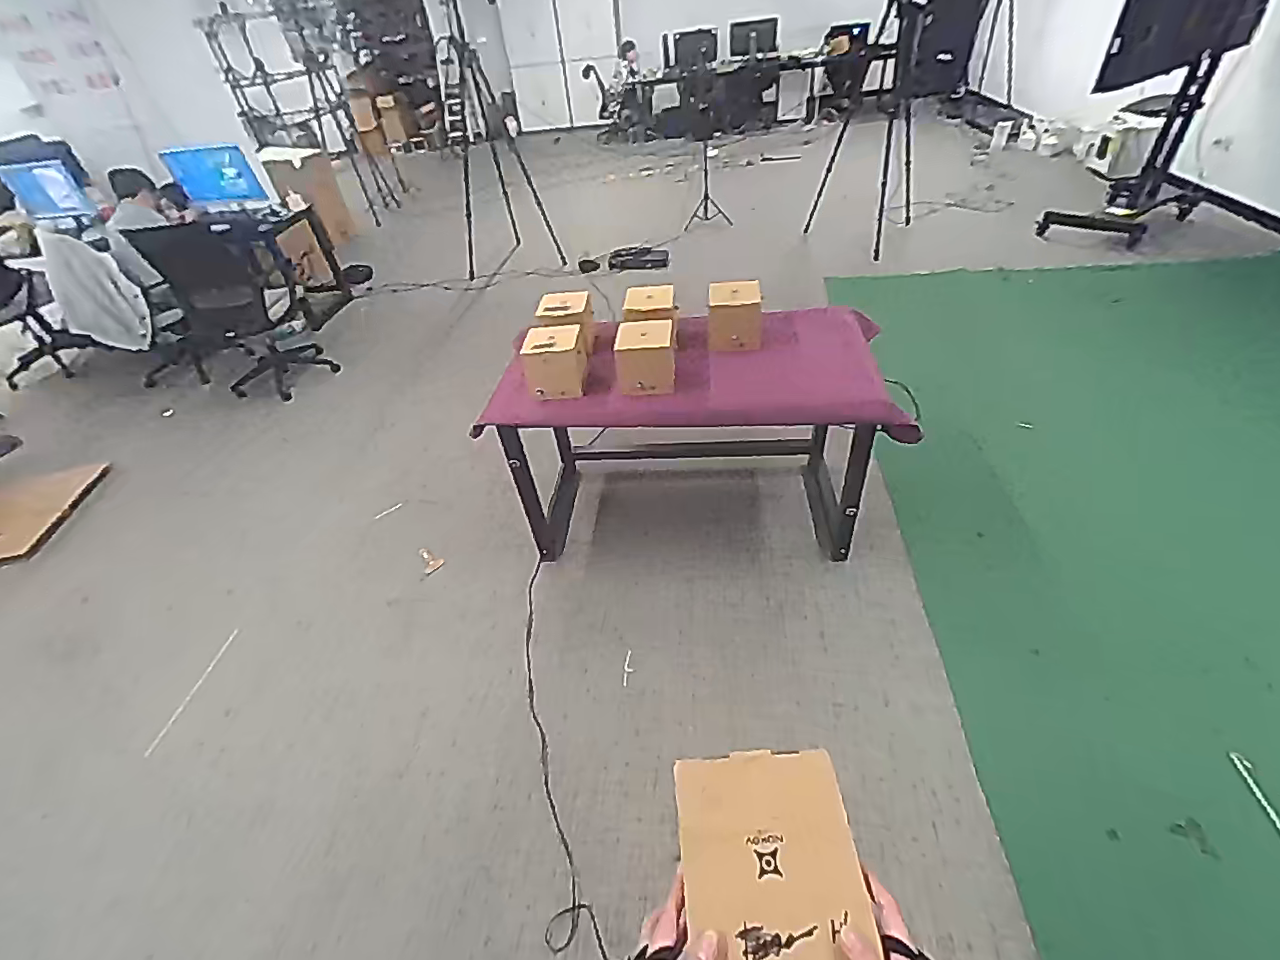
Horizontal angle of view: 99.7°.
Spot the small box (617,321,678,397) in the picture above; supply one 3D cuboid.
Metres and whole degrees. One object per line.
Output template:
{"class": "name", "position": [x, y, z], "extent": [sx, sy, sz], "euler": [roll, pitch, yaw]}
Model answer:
{"class": "small box", "position": [0.029, -0.378, 1.690], "extent": [0.168, 0.176, 0.179], "euler": [-2, 43, 9]}

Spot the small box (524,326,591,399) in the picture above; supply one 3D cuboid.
{"class": "small box", "position": [-0.255, -0.369, 1.724], "extent": [0.168, 0.176, 0.179], "euler": [-3, 40, 6]}

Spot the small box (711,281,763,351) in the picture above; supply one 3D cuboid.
{"class": "small box", "position": [0.328, -0.554, 1.829], "extent": [0.168, 0.176, 0.179], "euler": [-1, 43, 10]}

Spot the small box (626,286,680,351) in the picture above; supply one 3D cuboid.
{"class": "small box", "position": [0.051, -0.554, 1.881], "extent": [0.168, 0.176, 0.179], "euler": [-2, 44, 8]}
